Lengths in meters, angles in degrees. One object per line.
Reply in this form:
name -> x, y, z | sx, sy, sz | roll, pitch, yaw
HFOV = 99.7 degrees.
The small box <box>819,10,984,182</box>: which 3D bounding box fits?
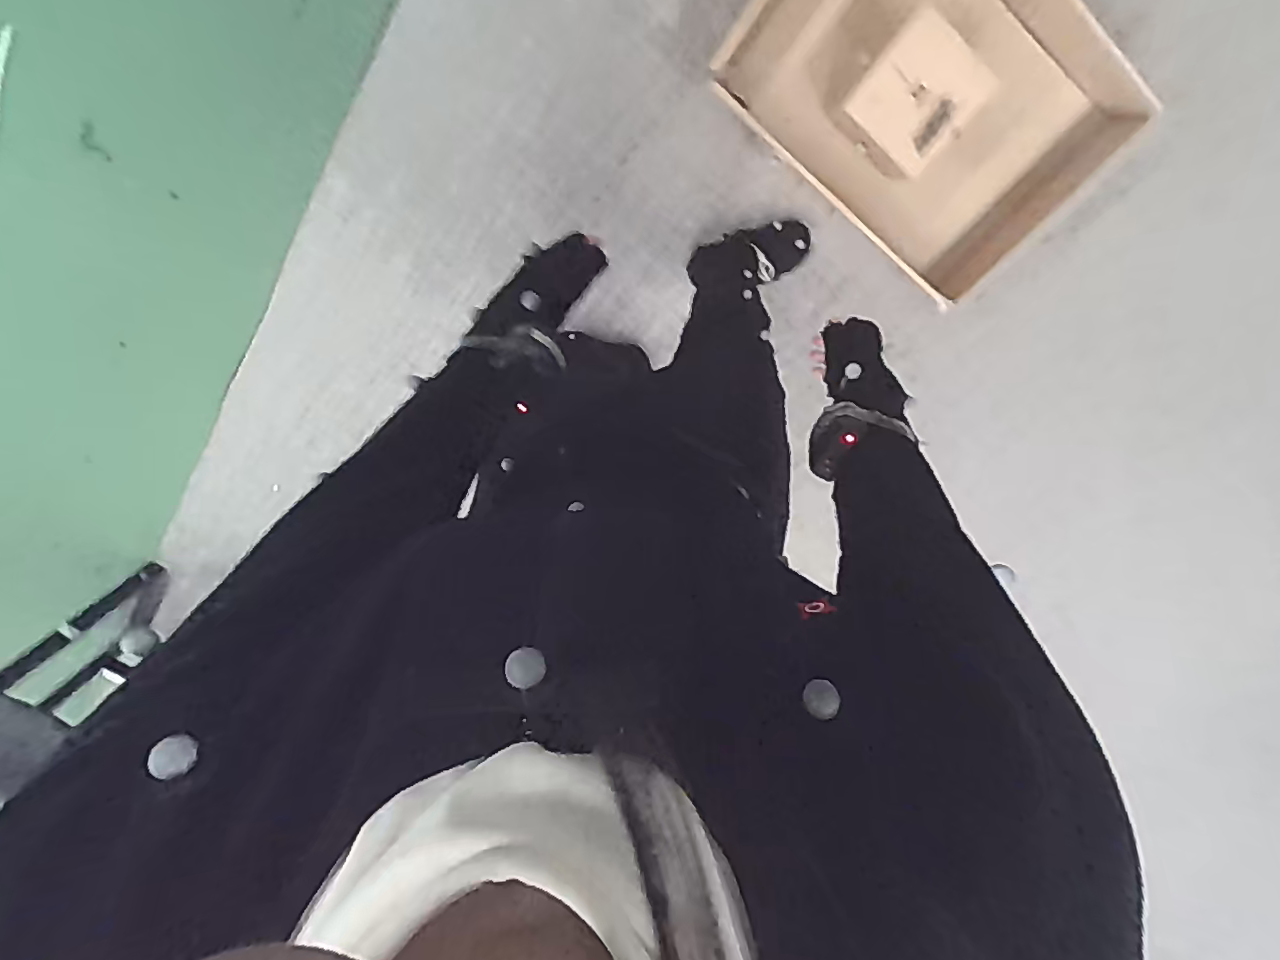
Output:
small box -> 0.443, -0.655, 0.944 | 0.179, 0.176, 0.168 | 37, 117, -13
